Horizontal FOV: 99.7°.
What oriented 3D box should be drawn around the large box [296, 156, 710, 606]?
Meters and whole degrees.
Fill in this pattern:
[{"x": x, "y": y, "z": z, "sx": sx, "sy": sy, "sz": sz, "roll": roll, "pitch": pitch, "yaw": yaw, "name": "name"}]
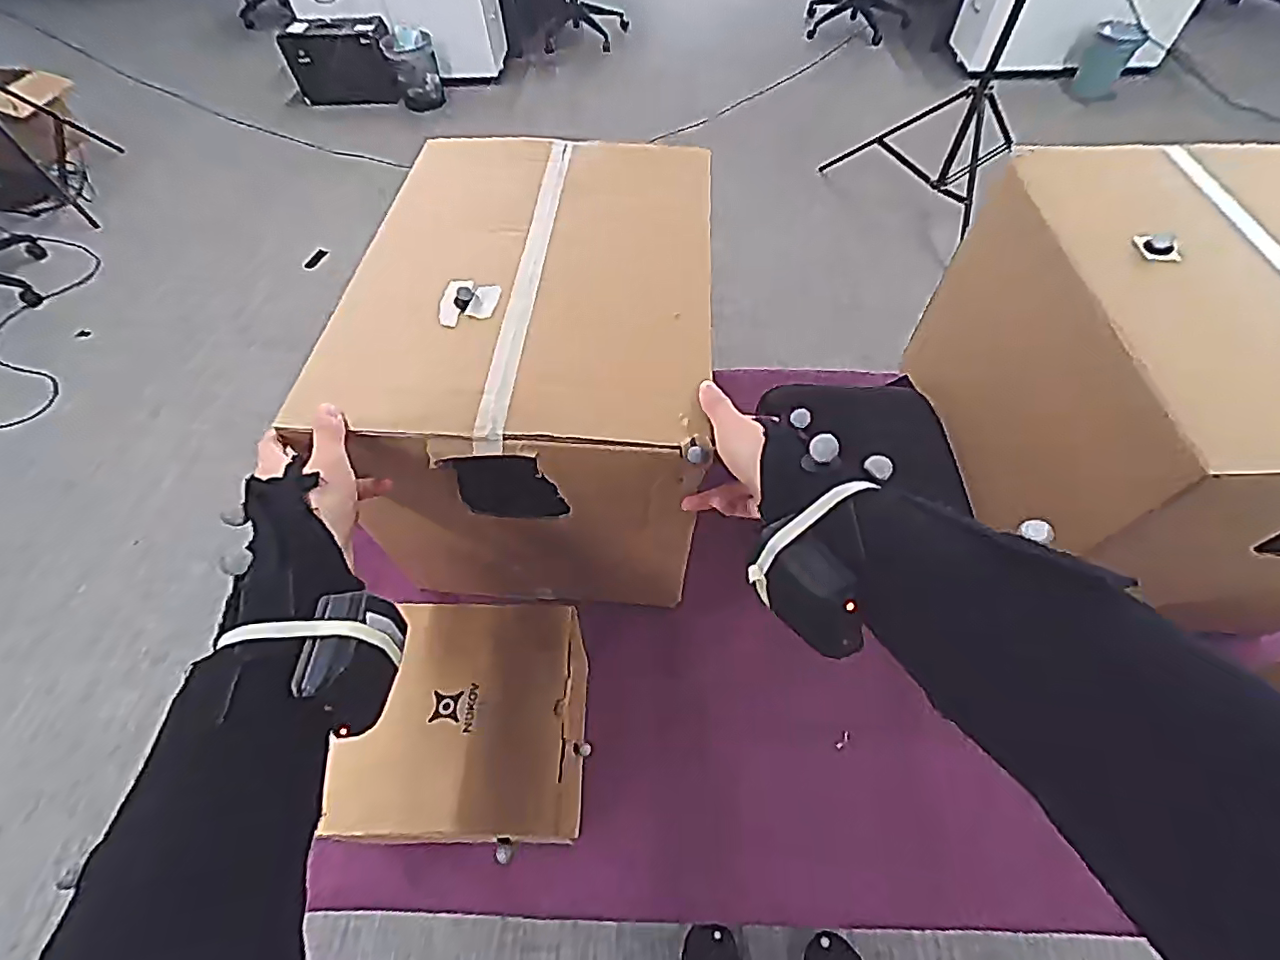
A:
[{"x": -0.095, "y": -0.103, "z": 0.620, "sx": 0.320, "sy": 0.320, "sz": 0.408, "roll": 2, "pitch": 59, "yaw": 2, "name": "large box"}]
